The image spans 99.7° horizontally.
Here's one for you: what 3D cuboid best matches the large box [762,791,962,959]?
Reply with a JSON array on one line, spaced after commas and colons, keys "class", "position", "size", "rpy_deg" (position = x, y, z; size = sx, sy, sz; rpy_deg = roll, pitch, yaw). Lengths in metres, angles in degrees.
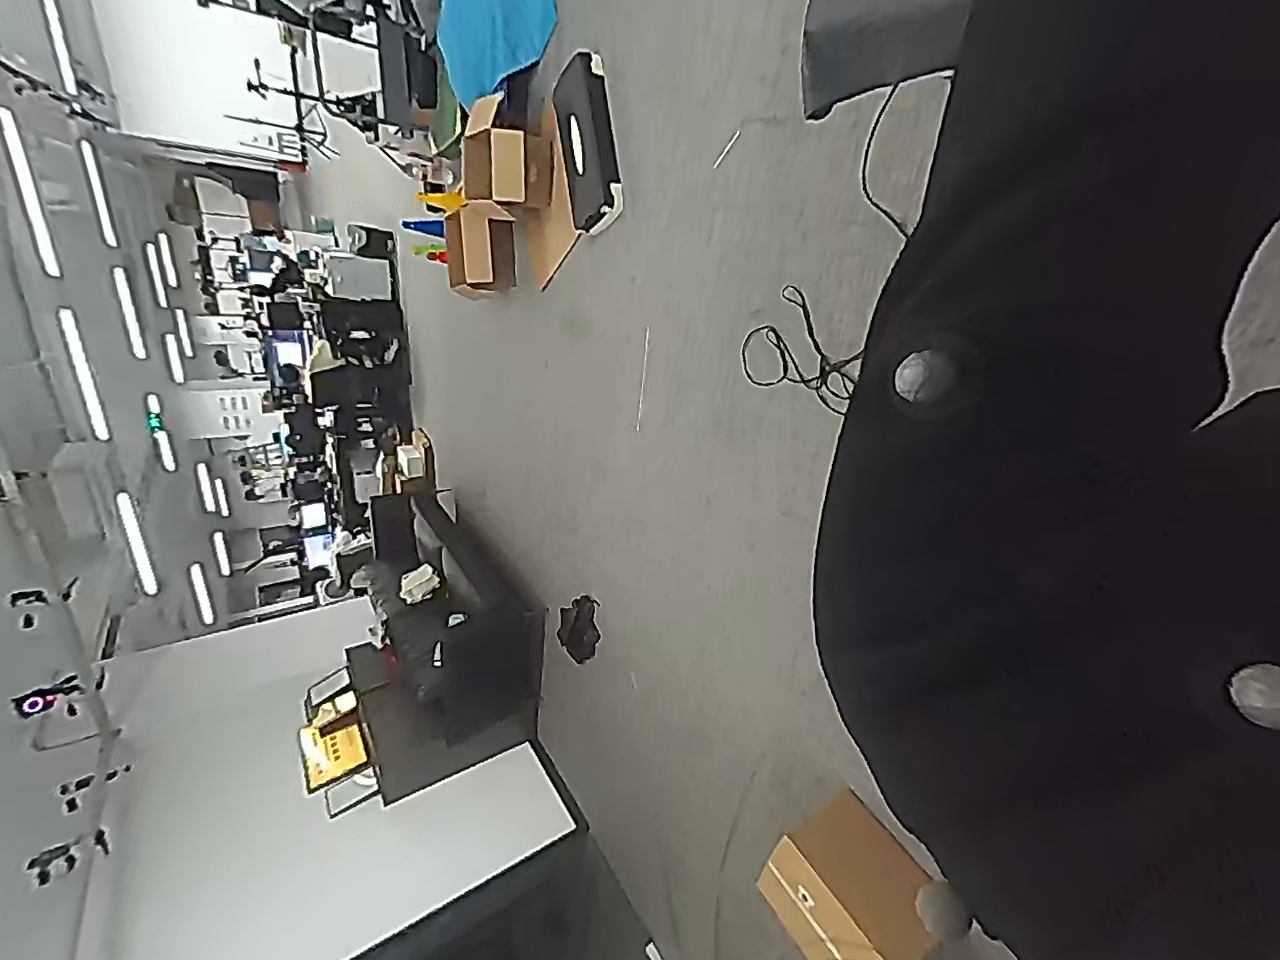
[{"class": "large box", "position": [0.648, 1.256, 1.622], "size": [0.408, 0.320, 0.320], "rpy_deg": [43, 131, 43]}]
